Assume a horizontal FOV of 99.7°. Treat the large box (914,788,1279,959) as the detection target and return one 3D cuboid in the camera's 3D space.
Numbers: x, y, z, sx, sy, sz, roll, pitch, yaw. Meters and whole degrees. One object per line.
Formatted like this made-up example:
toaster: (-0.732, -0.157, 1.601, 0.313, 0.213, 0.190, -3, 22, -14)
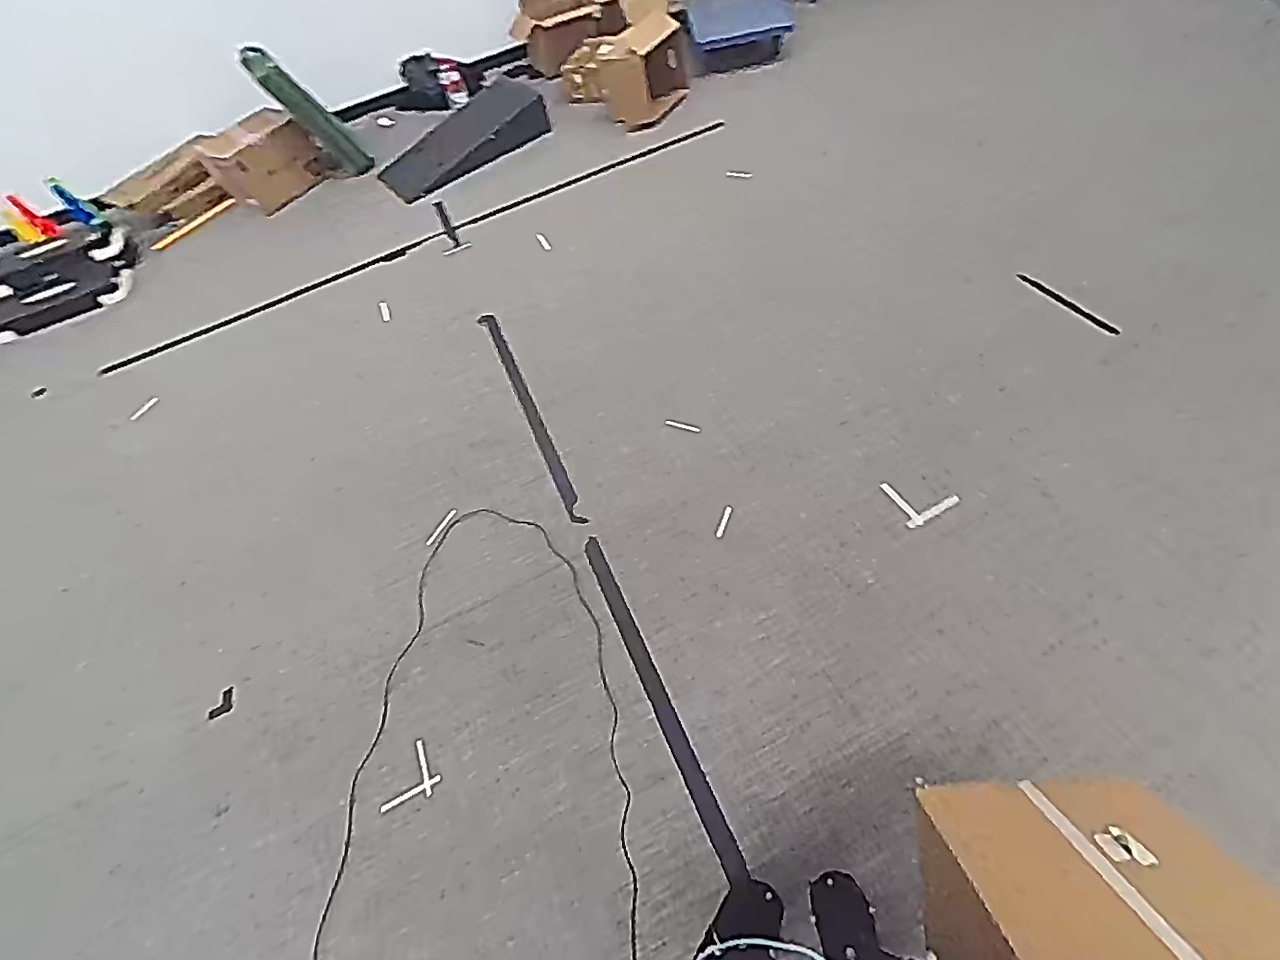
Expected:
large box: (0.576, 0.638, 0.632, 0.320, 0.408, 0.320, -5, 93, 5)
